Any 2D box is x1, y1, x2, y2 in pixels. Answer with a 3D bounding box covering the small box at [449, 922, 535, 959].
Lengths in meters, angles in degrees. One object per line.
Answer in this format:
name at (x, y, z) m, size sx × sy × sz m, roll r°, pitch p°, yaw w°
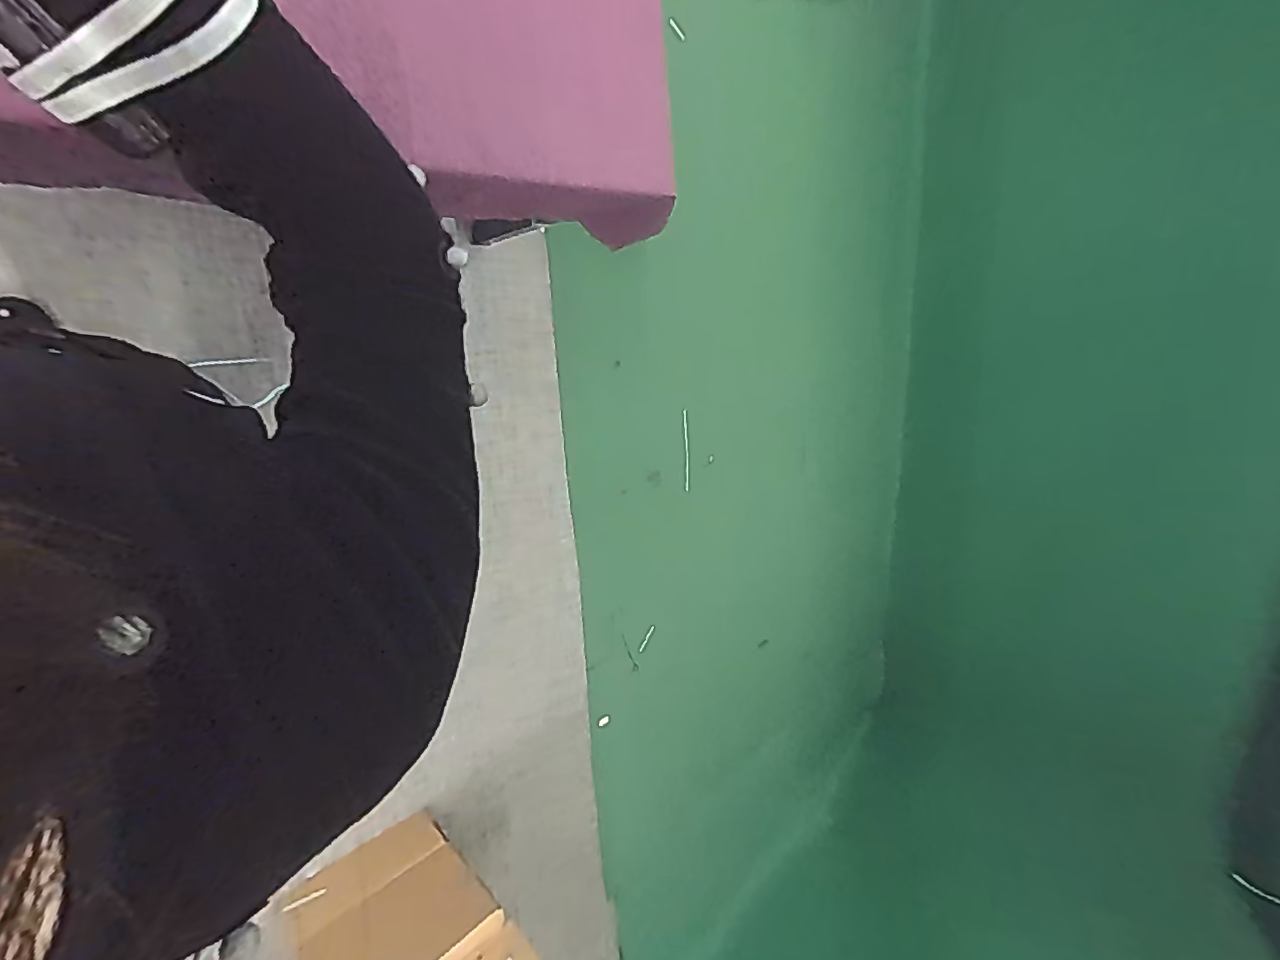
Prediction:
small box at (-0.369, 1.264, 1.349) m, size 0.168 × 0.176 × 0.179 m, roll -16°, pitch 111°, yaw -43°
